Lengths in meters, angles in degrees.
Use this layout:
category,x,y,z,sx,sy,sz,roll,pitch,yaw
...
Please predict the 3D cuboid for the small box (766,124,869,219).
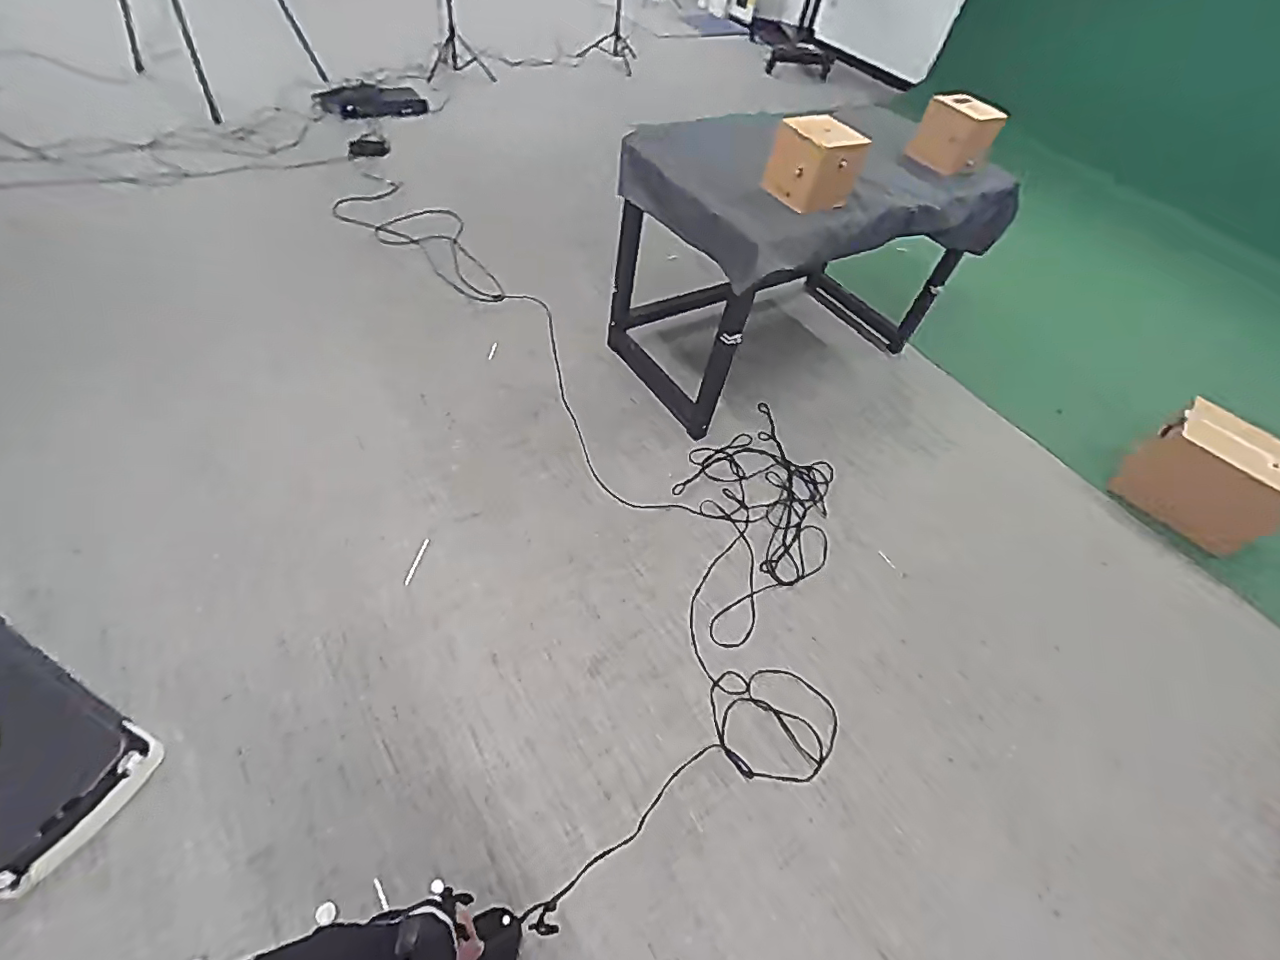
category,x,y,z,sx,sy,sz,roll,pitch,yaw
small box,0.456,-0.812,1.429,0.179,0.176,0.168,-21,60,-27
